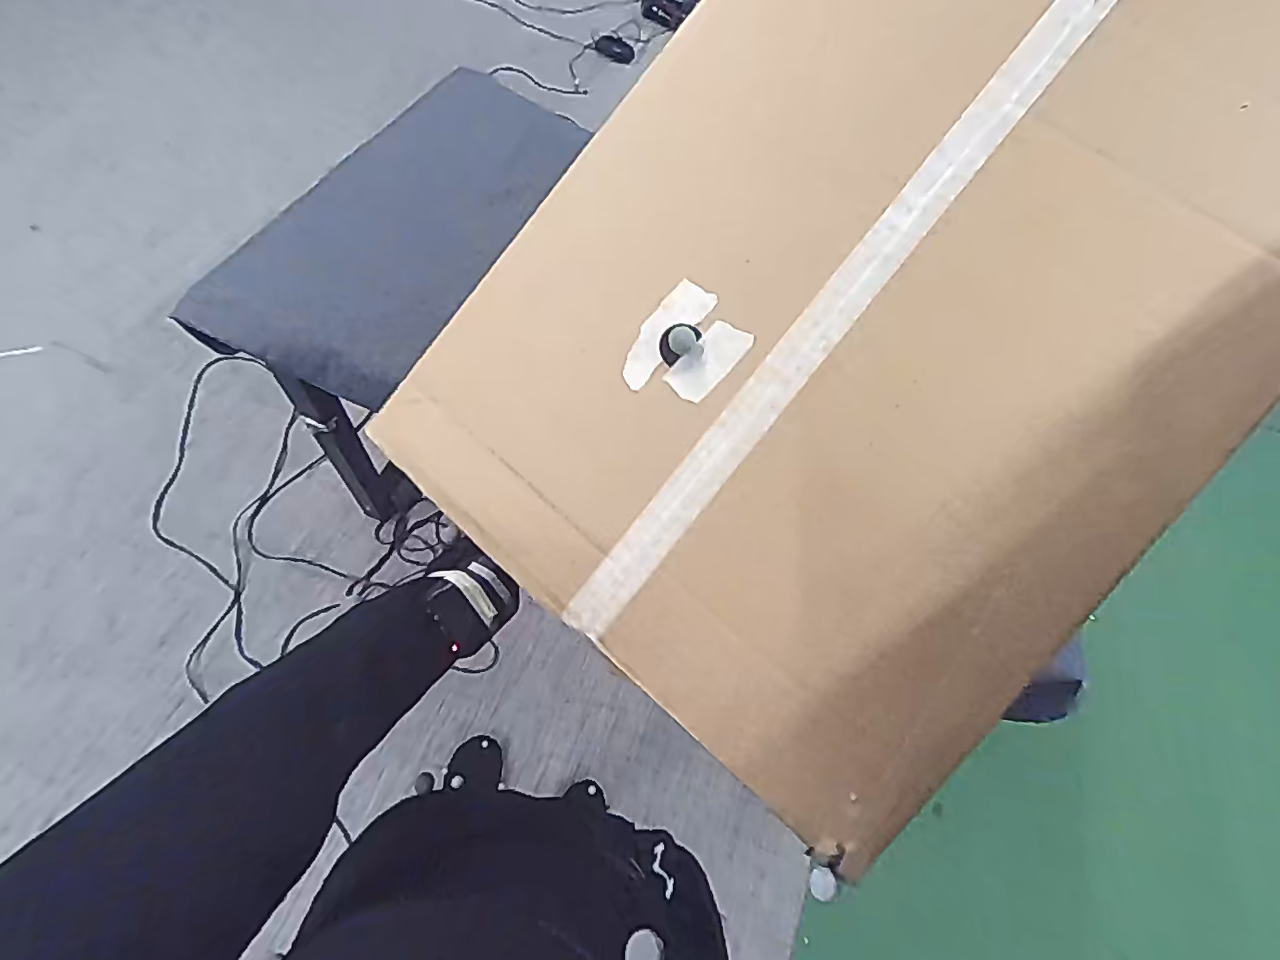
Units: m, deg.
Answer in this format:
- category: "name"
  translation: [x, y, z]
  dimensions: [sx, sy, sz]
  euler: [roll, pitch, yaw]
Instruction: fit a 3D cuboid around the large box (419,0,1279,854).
- category: "large box"
  translation: [0.134, -0.062, 0.416]
  dimensions: [0.320, 0.320, 0.408]
  euler: [38, 93, 12]
